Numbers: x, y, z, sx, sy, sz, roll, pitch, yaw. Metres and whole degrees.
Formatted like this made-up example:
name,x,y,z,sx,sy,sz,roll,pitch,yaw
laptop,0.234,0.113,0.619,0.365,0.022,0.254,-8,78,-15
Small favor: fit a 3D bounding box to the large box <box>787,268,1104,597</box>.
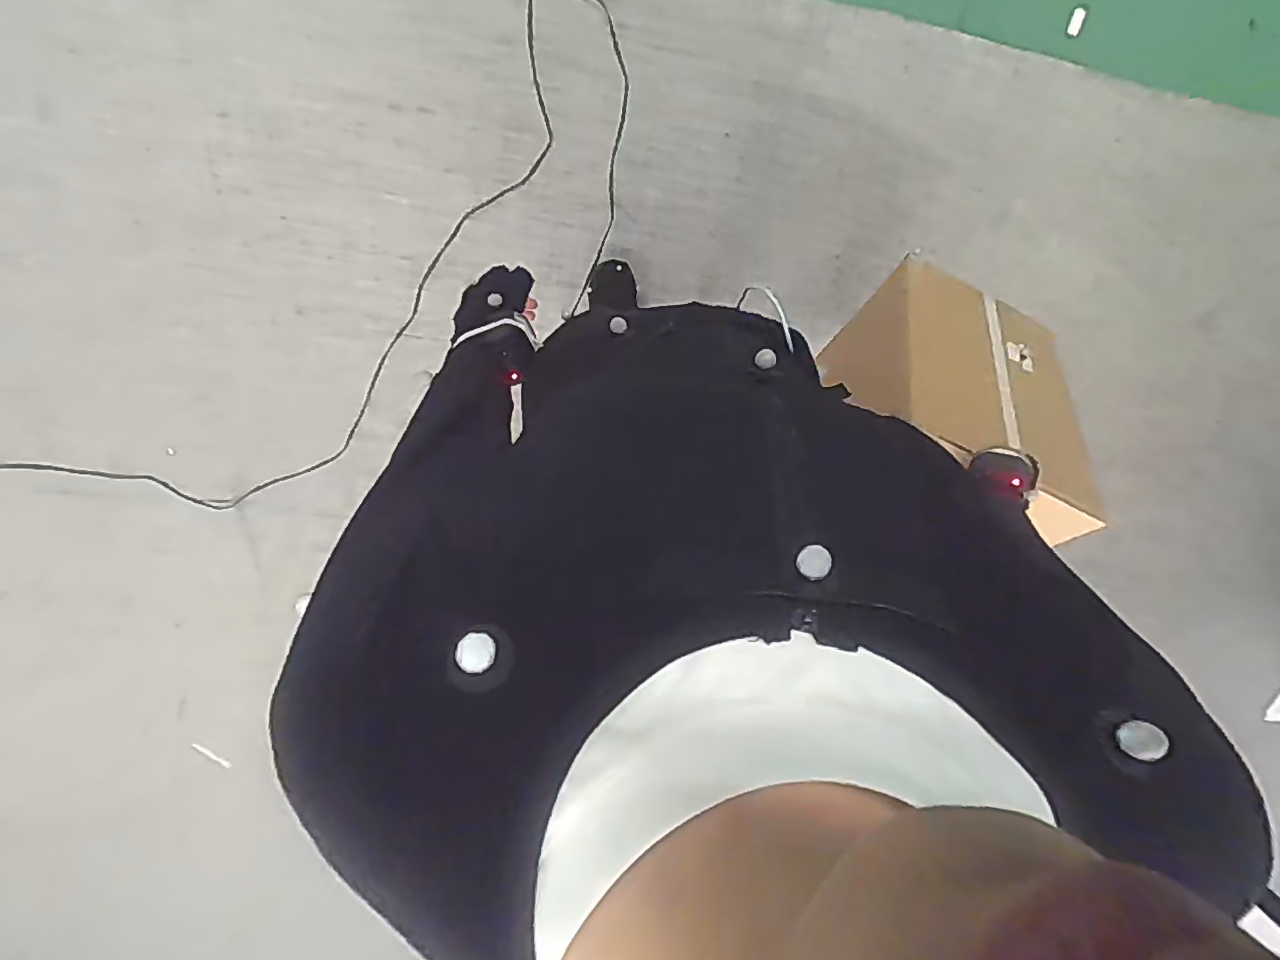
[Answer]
name,x,y,z,sx,sy,sz,roll,pitch,yaw
large box,0.481,-0.071,0.932,0.320,0.408,0.320,25,144,-8
